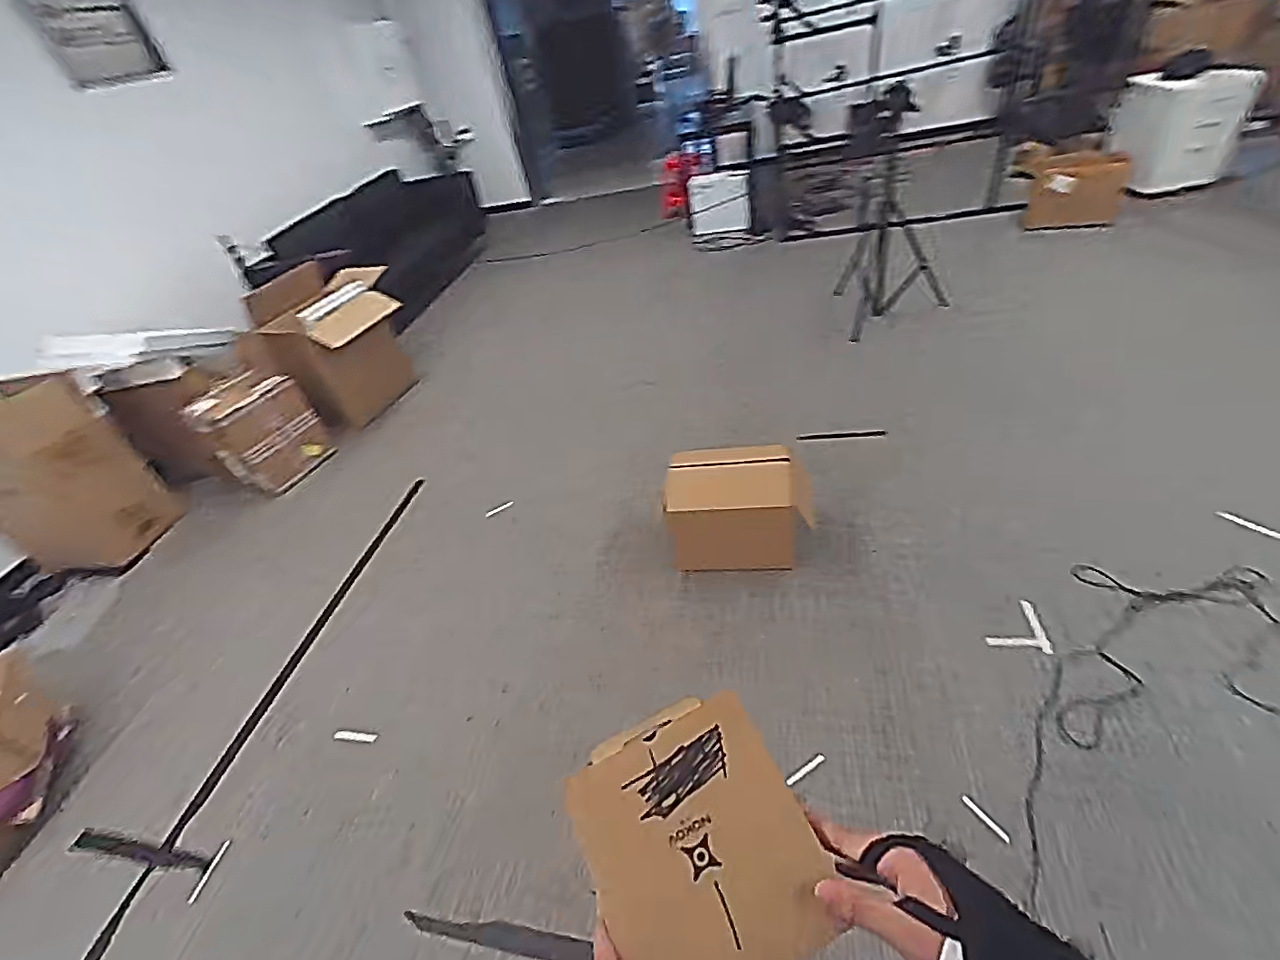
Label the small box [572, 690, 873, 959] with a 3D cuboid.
[{"bbox_3d":[0.062,0.316,0.464,0.168,0.176,0.179,-26,55,-6],"label":"small box"}]
